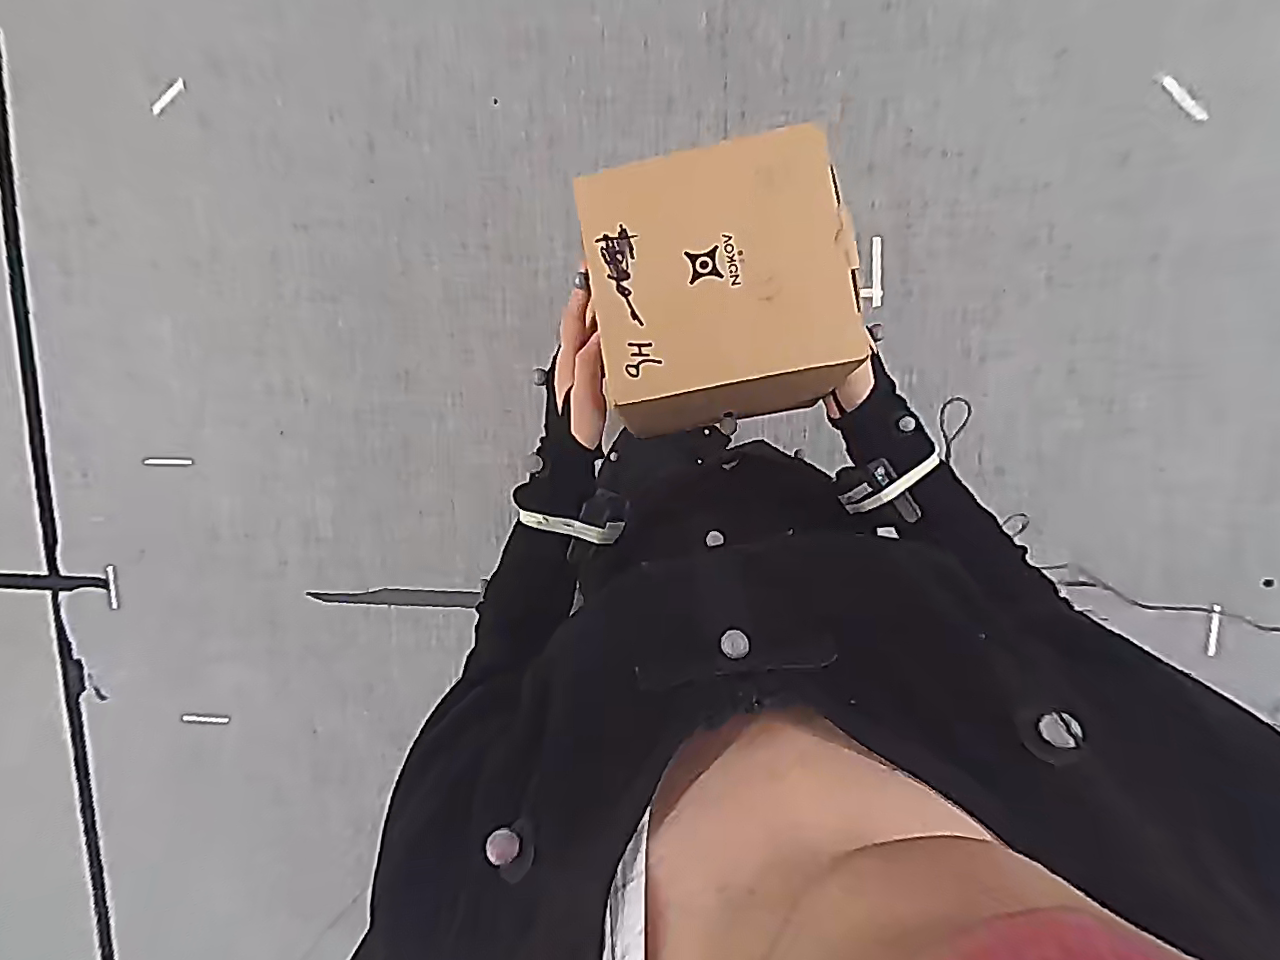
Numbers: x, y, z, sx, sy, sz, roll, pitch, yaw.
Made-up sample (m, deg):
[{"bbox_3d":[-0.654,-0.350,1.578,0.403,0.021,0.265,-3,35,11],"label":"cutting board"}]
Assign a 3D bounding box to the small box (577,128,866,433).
[{"bbox_3d":[0.057,-0.140,0.443,0.179,0.176,0.168,-9,86,3],"label":"small box"}]
